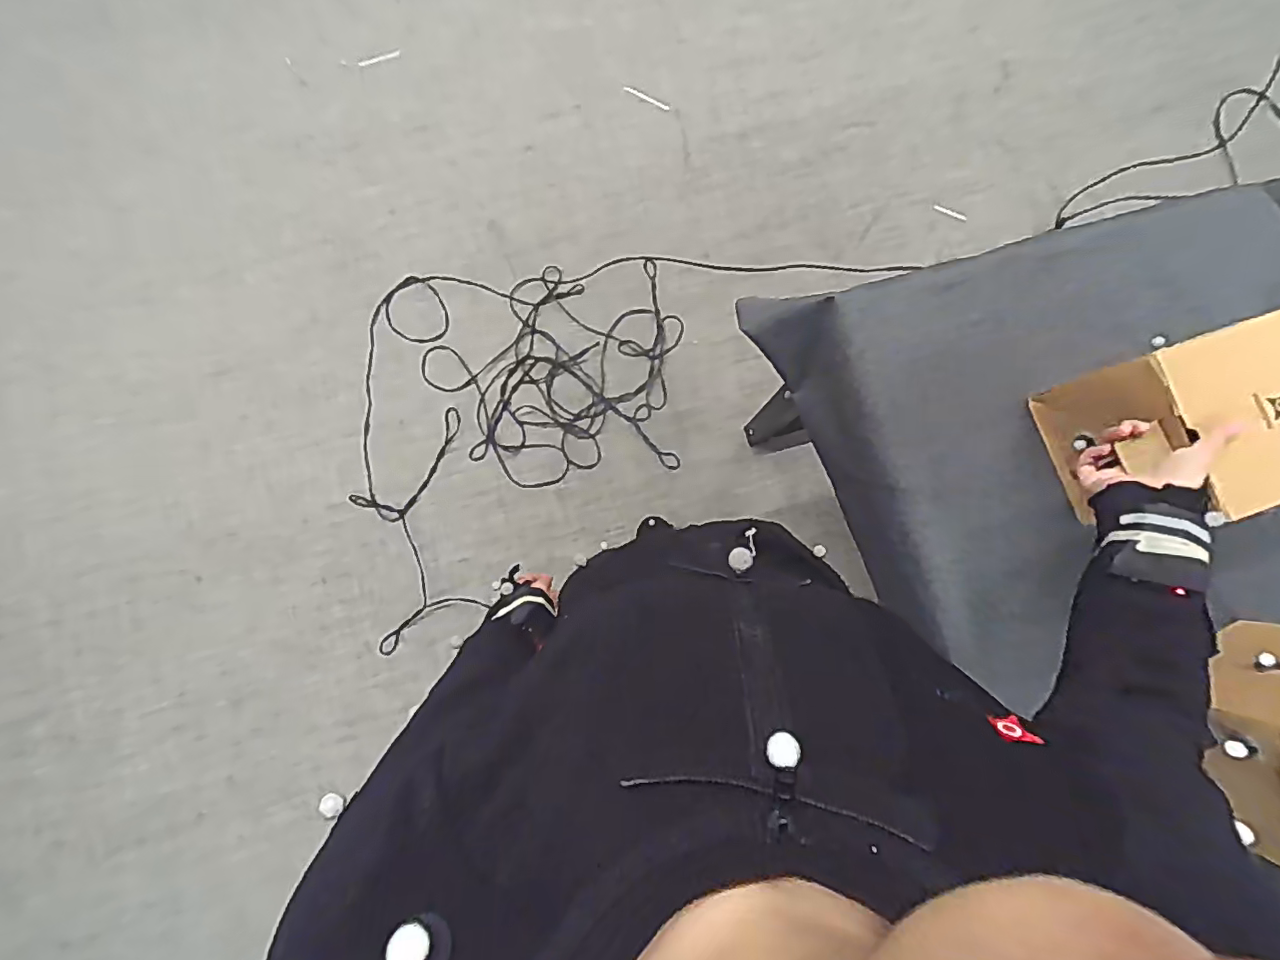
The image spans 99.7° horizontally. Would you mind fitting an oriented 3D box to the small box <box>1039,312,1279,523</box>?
[{"bbox_3d":[0.579,-0.060,0.564,0.179,0.176,0.168,-20,85,-1],"label":"small box"}]
